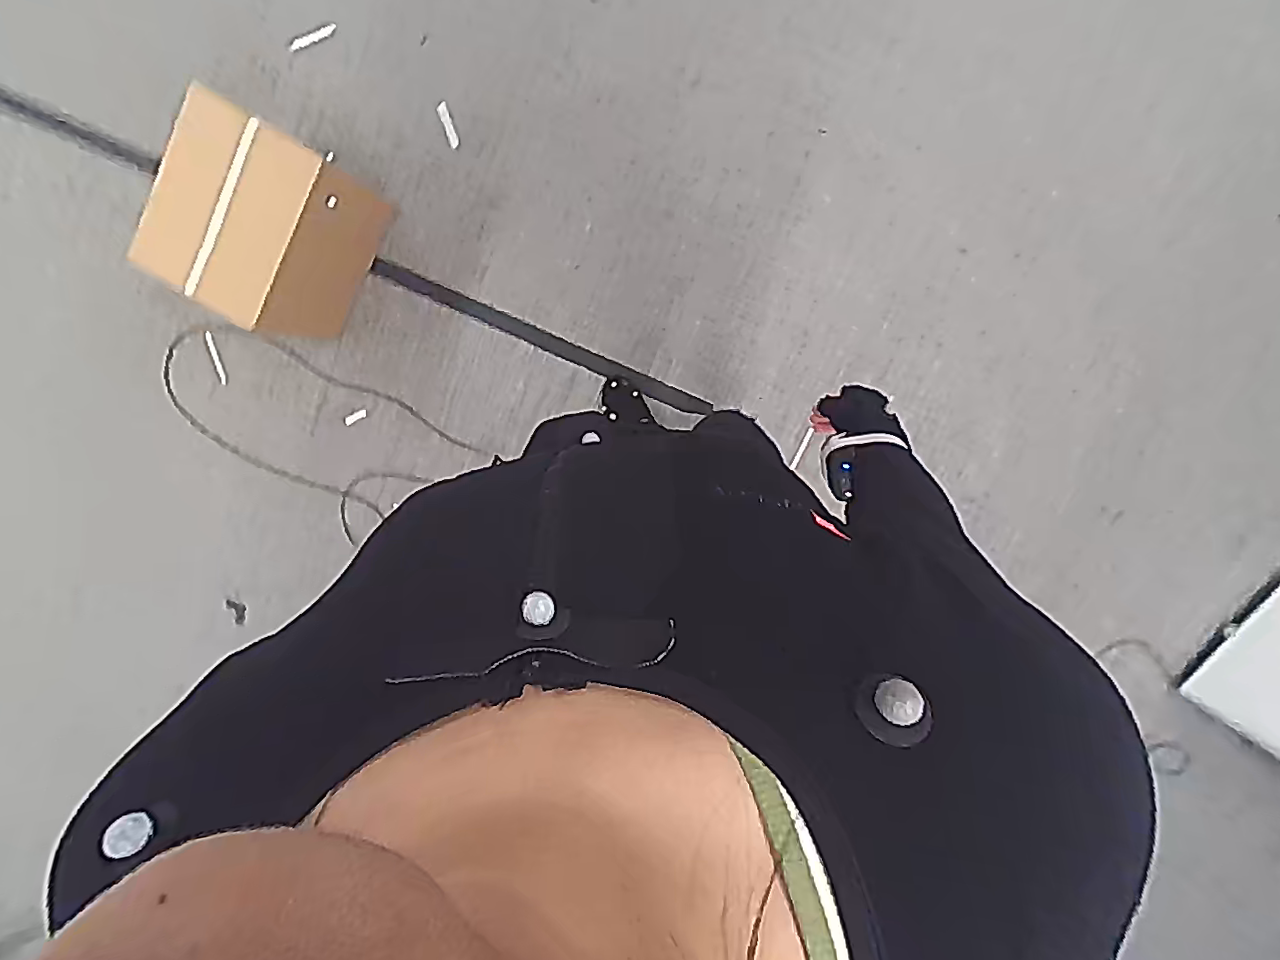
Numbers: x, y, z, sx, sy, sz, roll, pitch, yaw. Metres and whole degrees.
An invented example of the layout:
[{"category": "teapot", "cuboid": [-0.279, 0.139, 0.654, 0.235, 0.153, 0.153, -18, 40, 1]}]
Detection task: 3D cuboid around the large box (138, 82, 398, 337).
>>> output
[{"category": "large box", "cuboid": [-0.857, -0.601, 1.290, 0.320, 0.320, 0.408, 31, 101, -2]}]
